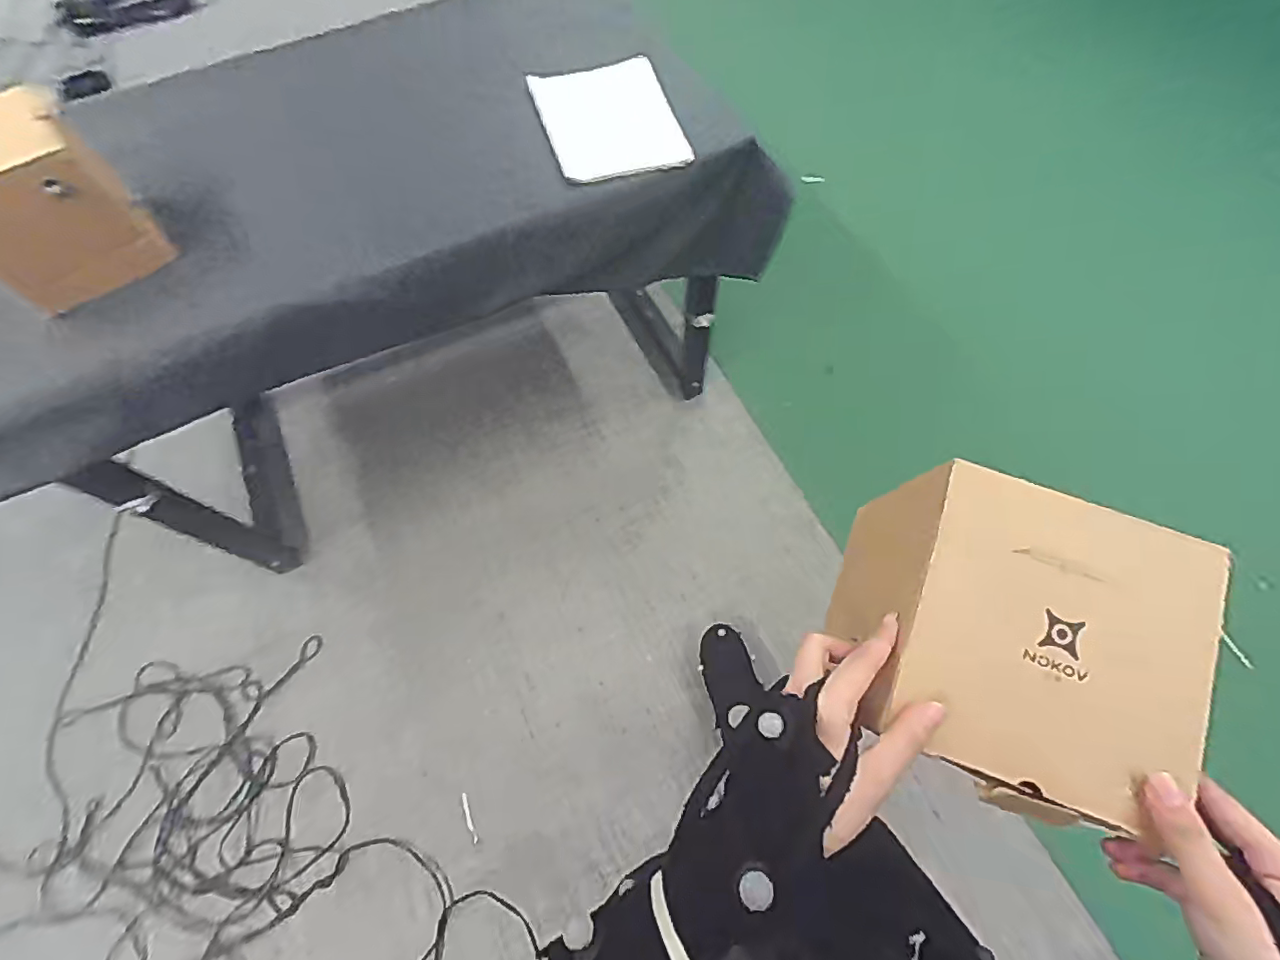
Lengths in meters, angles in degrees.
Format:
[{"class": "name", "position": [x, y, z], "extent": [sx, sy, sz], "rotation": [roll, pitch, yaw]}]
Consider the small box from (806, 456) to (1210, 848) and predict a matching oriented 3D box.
[{"class": "small box", "position": [0.234, 0.110, 0.388], "extent": [0.168, 0.176, 0.179], "rotation": [19, 76, 6]}]

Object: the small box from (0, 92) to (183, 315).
[{"class": "small box", "position": [-0.763, -0.350, 0.702], "extent": [0.179, 0.176, 0.168], "rotation": [-36, 68, -15]}]
